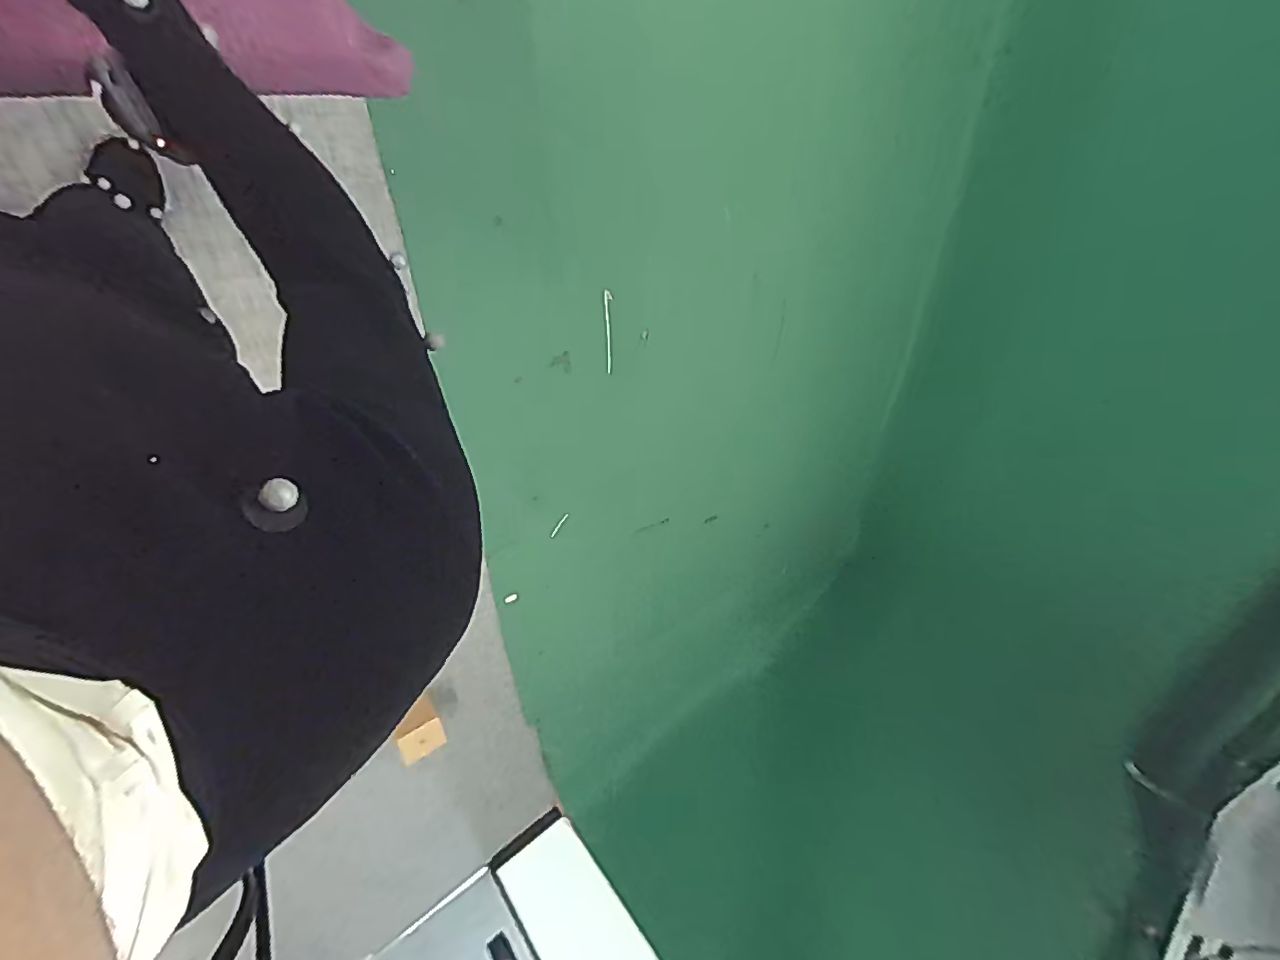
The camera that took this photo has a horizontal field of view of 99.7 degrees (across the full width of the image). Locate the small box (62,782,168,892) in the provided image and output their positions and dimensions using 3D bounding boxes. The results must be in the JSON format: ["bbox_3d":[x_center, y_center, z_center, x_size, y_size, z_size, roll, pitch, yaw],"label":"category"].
[{"bbox_3d":[-1.520,1.027,1.571,0.179,0.176,0.168,-23,130,-31],"label":"small box"}]

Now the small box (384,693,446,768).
[{"bbox_3d":[-0.895,0.991,2.152,0.168,0.176,0.179,-24,130,-33],"label":"small box"}]
